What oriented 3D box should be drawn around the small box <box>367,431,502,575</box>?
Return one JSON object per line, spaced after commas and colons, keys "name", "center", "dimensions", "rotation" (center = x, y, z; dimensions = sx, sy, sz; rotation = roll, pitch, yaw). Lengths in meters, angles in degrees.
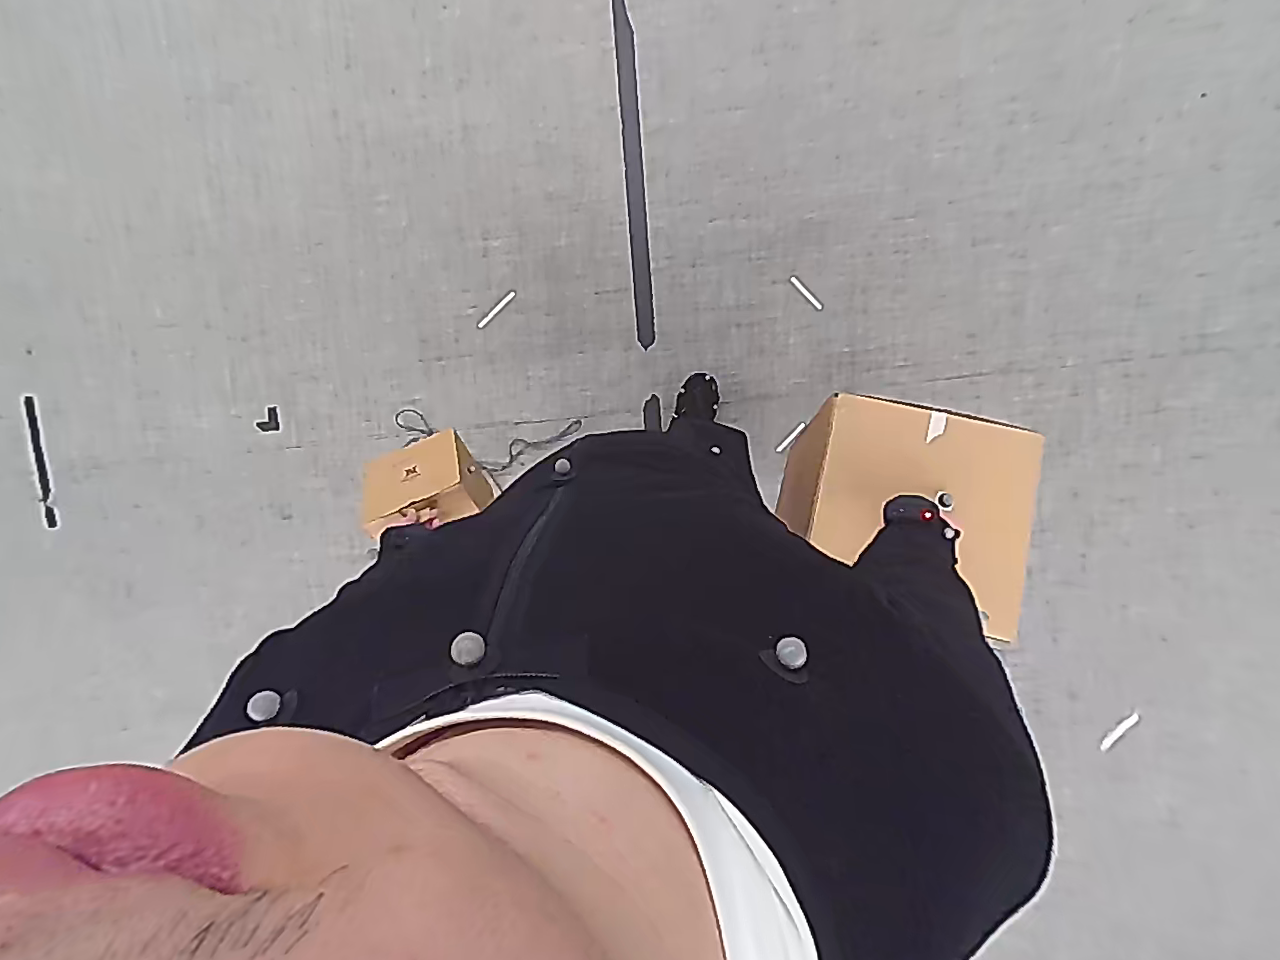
{"name": "small box", "center": [-0.363, 0.048, 0.973], "dimensions": [0.168, 0.179, 0.176], "rotation": [-24, 131, -5]}
